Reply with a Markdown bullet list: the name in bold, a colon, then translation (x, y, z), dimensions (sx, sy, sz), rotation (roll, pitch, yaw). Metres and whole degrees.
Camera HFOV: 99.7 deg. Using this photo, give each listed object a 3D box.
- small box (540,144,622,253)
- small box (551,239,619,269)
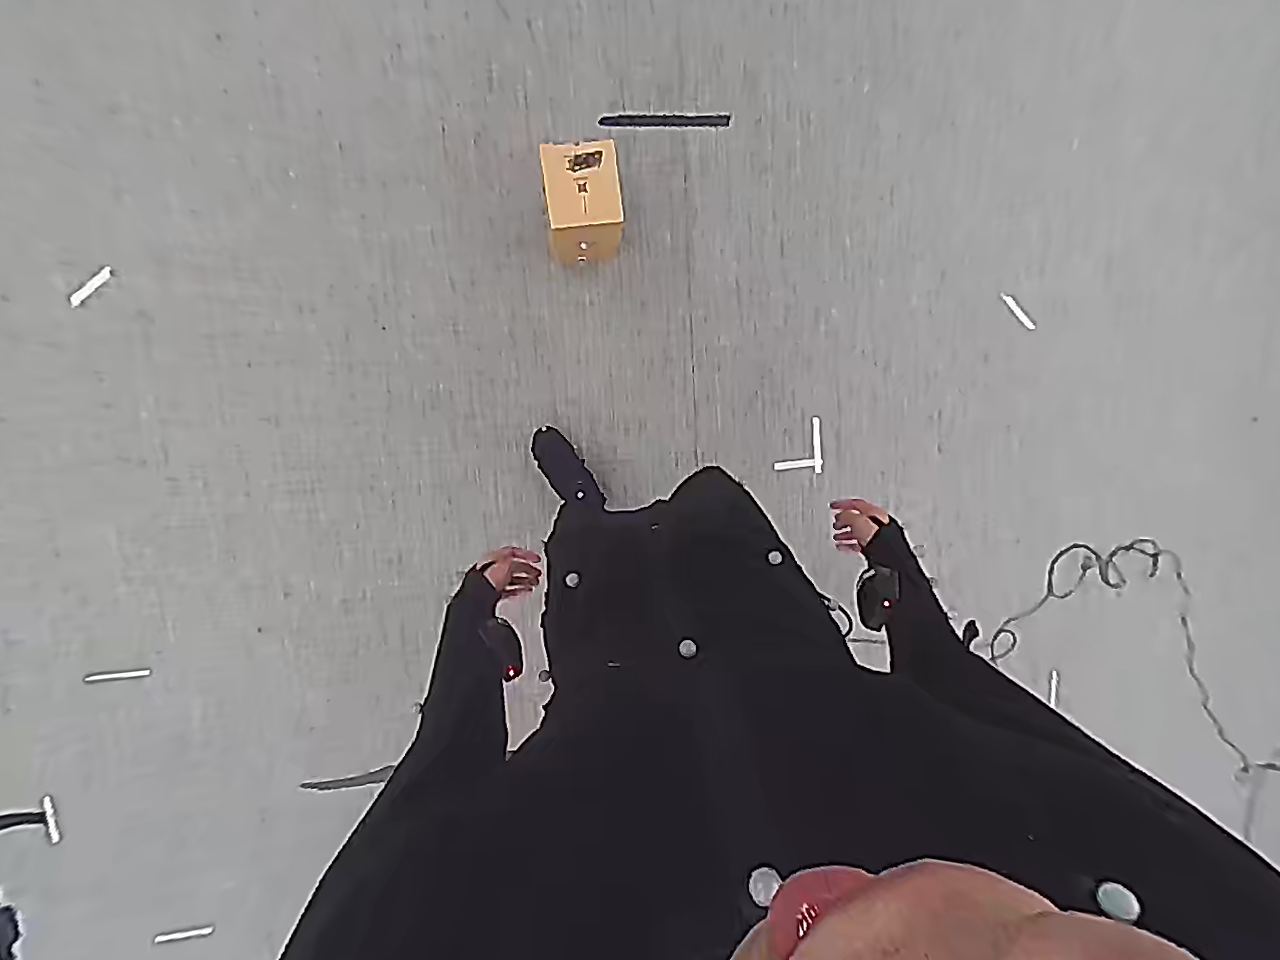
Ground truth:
- **small box**: translation (-0.140, -0.651, 1.265), dimensions (0.168, 0.176, 0.179), rotation (-8, 99, -7)
- **small box**: translation (-0.157, -0.677, 1.426), dimensions (0.168, 0.176, 0.179), rotation (-10, 99, -7)
